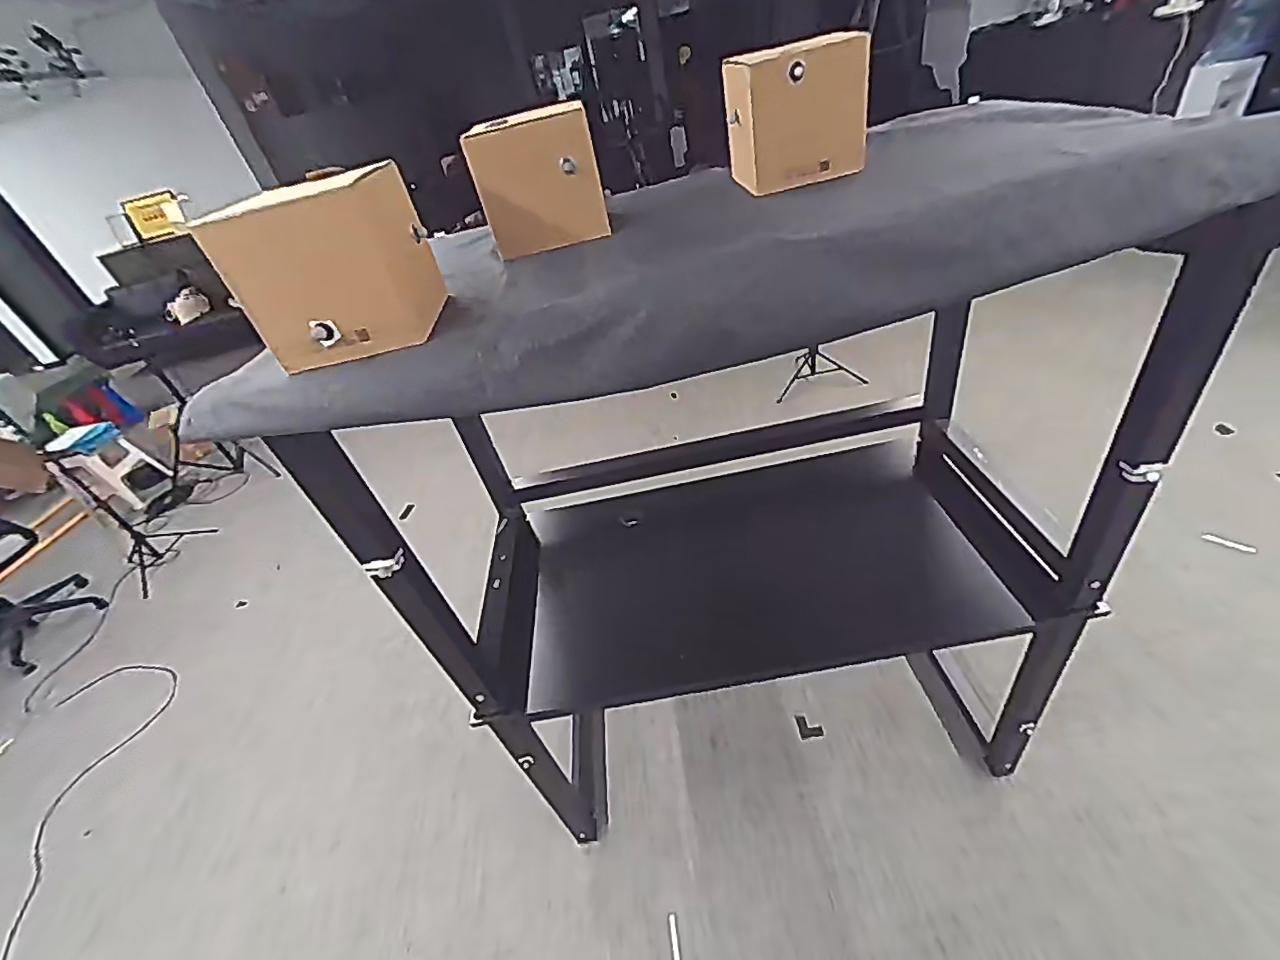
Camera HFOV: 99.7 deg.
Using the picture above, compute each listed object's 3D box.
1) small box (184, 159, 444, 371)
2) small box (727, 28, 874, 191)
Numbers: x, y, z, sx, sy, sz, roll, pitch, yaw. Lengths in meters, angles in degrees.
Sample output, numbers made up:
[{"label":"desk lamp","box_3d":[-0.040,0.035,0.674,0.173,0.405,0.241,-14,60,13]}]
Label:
[{"label":"small box","box_3d":[-0.342,-0.246,0.616,0.168,0.176,0.179,-14,37,1]},{"label":"small box","box_3d":[0.234,-0.555,0.822,0.168,0.176,0.179,-13,37,3]}]
